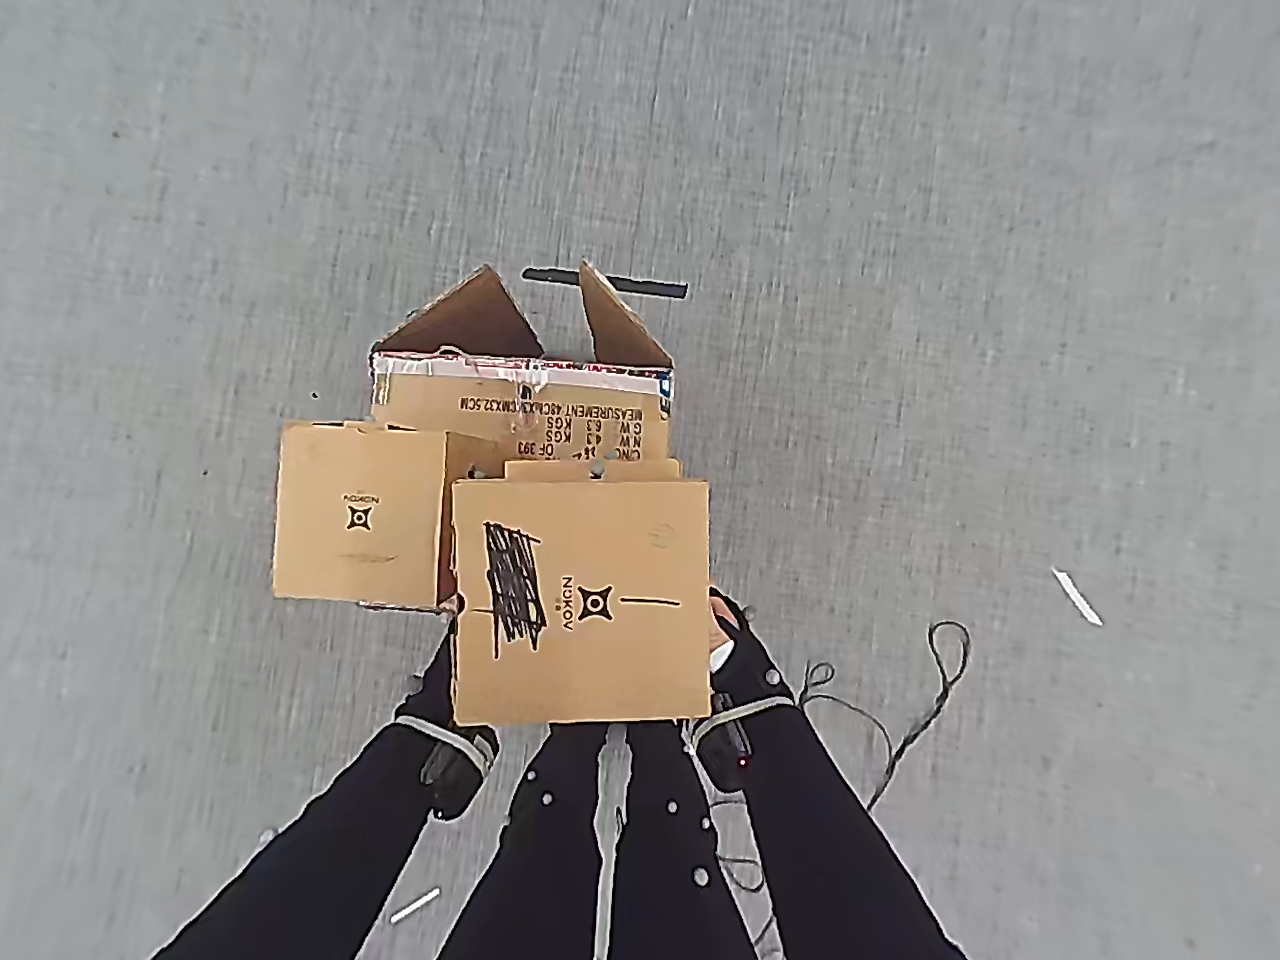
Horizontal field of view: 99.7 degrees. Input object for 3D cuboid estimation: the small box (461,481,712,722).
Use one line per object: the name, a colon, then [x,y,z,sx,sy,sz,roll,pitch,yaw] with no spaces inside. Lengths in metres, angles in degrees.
small box: [-0.040,0.086,0.457,0.179,0.176,0.168,-1,91,-4]

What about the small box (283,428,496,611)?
small box: [-0.269,0.038,0.618,0.168,0.176,0.179,3,92,2]

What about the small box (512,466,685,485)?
small box: [-0.045,0.067,0.622,0.179,0.176,0.168,-1,90,-3]
